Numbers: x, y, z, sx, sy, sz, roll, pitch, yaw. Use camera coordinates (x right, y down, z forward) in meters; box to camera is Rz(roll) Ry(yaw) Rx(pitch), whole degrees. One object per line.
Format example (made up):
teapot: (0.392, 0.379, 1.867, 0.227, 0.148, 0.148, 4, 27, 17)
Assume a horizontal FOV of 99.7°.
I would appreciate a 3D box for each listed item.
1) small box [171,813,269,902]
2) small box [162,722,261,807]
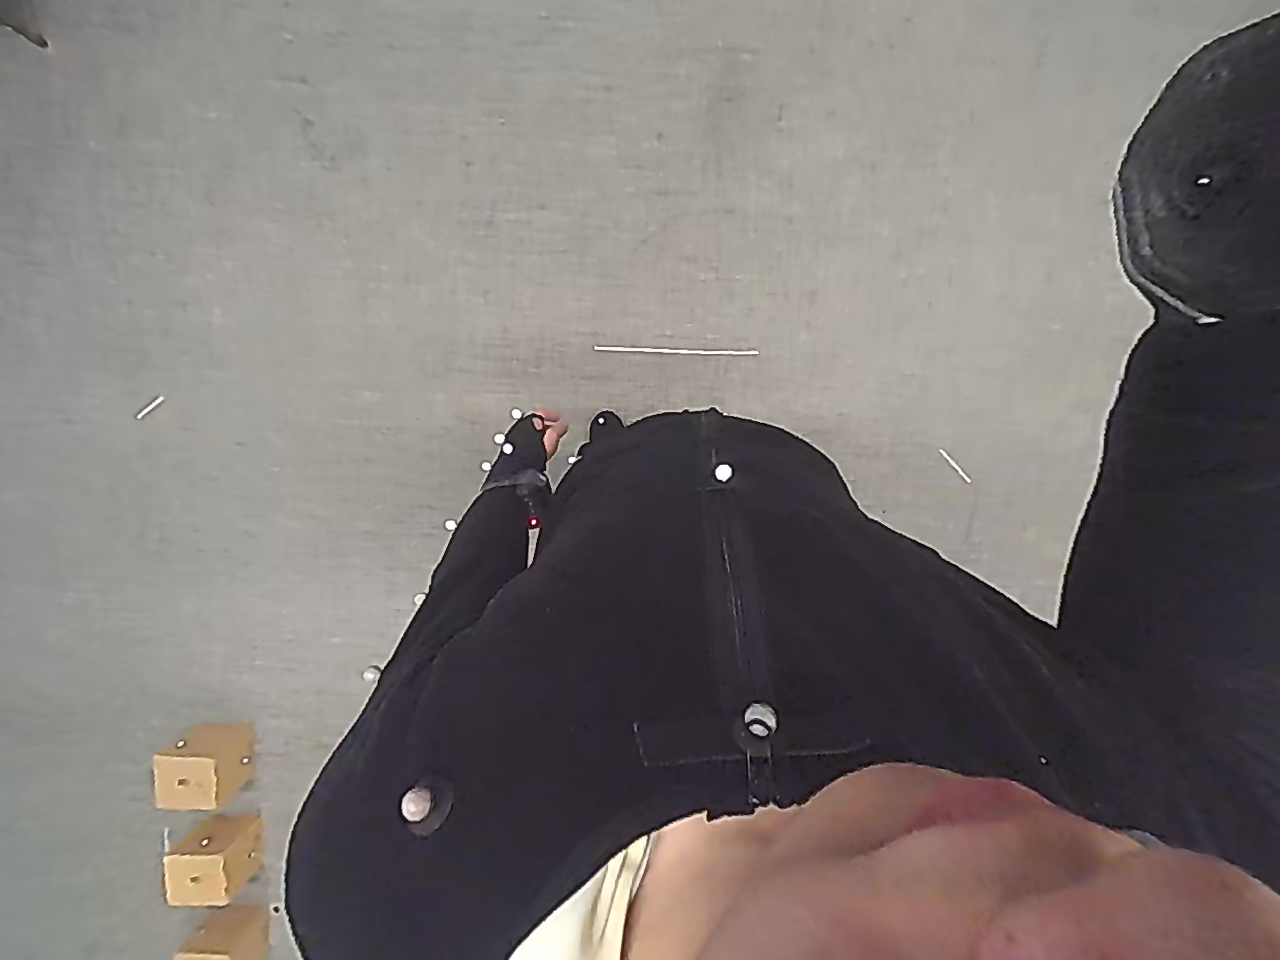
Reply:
small box: (-1.309, 1.176, 1.693, 0.179, 0.176, 0.168, 1, 96, -1)
small box: (-1.305, 0.864, 1.655, 0.179, 0.176, 0.168, 4, 97, -1)
